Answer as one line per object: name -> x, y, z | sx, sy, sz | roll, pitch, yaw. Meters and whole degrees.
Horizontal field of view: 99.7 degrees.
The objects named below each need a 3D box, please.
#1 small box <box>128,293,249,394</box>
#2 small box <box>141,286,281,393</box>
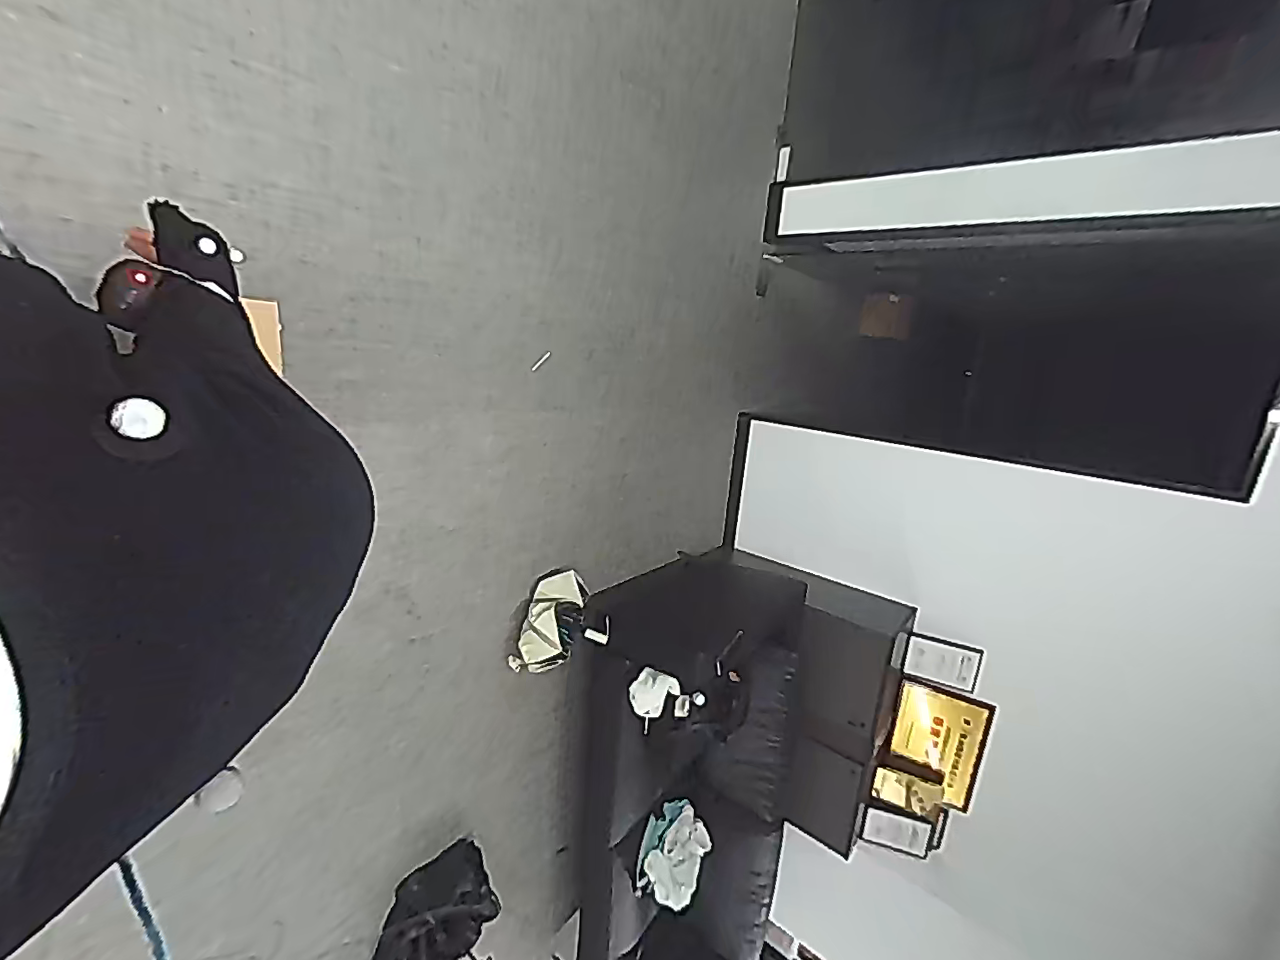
small box -> -0.926, -0.280, 1.114 | 0.168, 0.176, 0.179 | -8, 109, -52
small box -> -0.799, -0.260, 1.010 | 0.168, 0.176, 0.179 | -12, 113, -50
